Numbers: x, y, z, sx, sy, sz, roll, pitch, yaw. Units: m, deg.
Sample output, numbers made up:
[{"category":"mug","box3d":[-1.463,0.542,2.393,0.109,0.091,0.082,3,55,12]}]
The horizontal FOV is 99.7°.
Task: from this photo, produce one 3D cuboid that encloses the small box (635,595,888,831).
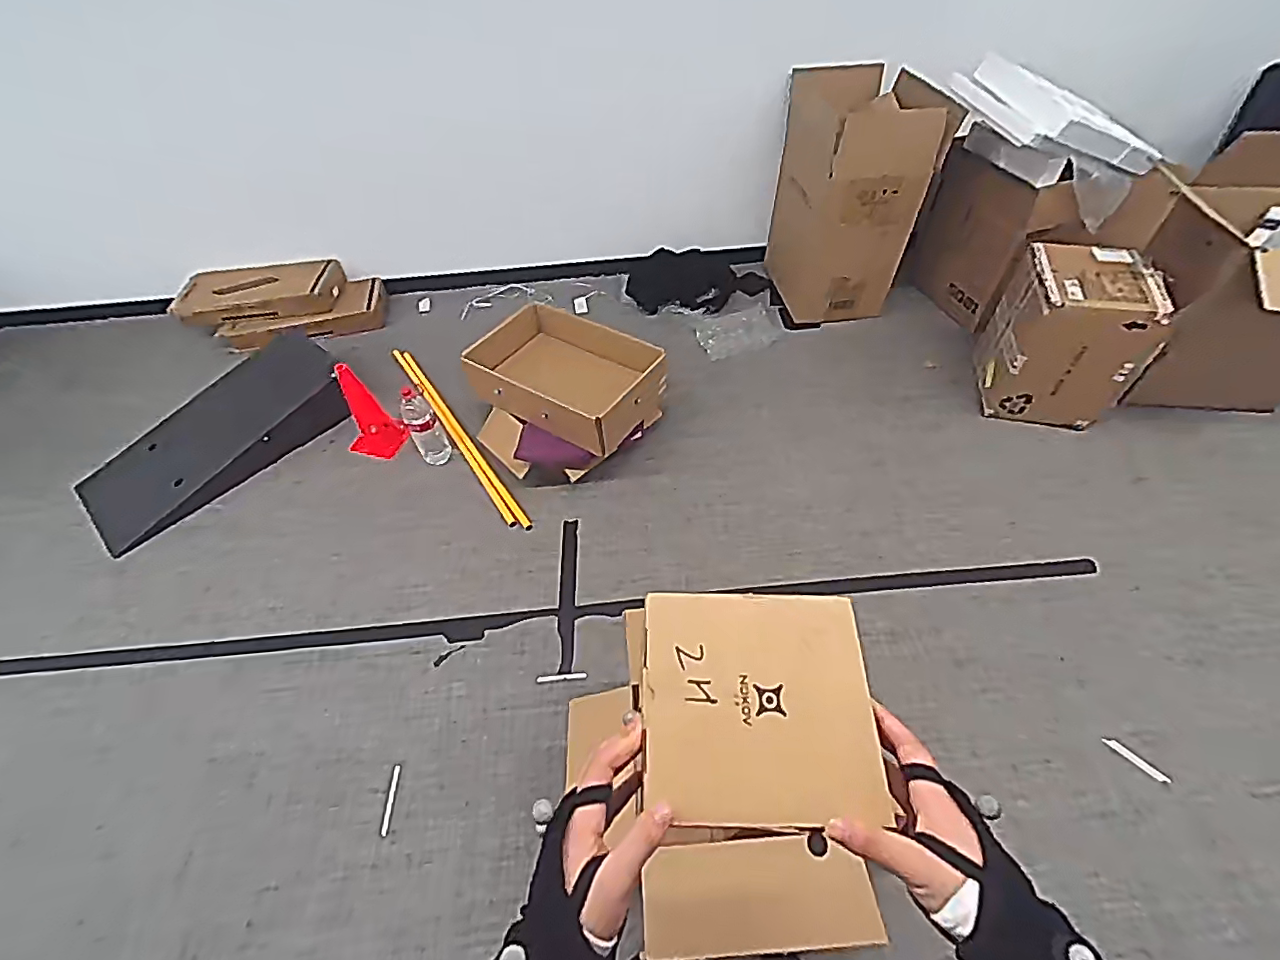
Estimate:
[{"category":"small box","box3d":[0.086,0.210,0.481,0.179,0.176,0.168,1,58,0]}]
